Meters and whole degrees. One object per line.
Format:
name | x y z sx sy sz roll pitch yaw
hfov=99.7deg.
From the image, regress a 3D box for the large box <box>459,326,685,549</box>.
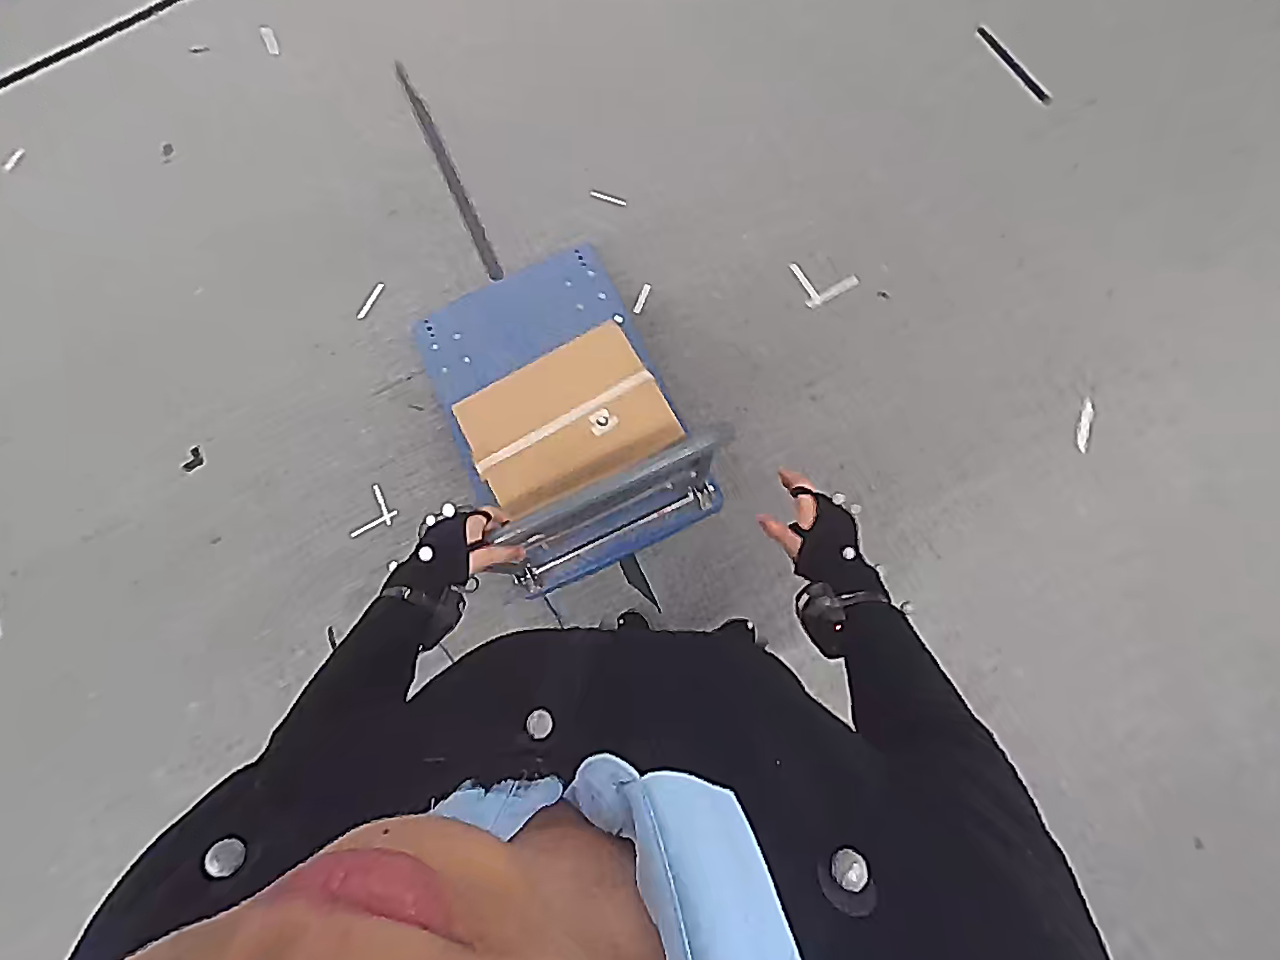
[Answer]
large box | -0.139 -0.080 1.282 0.408 0.320 0.320 -29 77 -4
